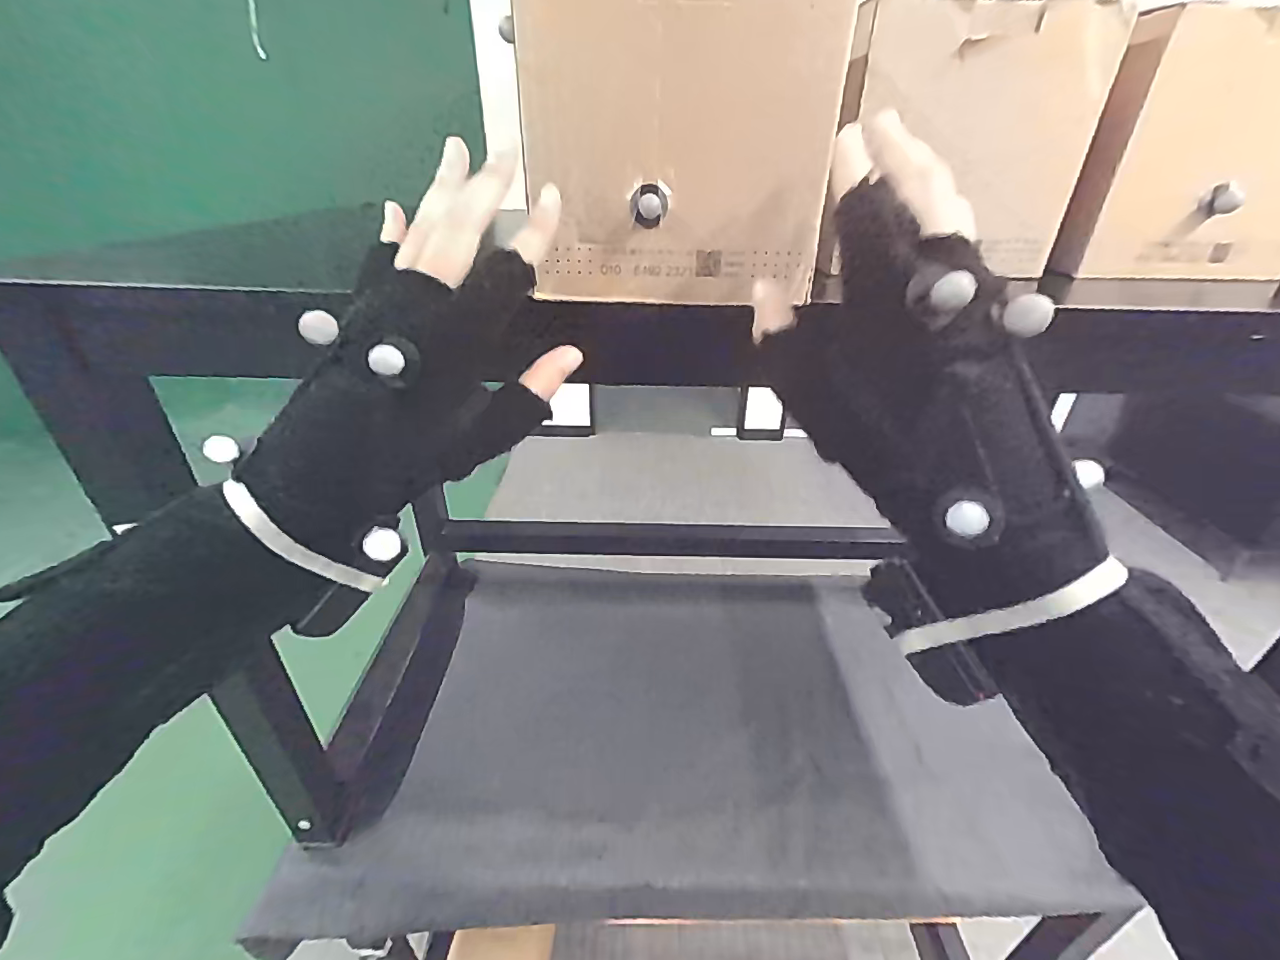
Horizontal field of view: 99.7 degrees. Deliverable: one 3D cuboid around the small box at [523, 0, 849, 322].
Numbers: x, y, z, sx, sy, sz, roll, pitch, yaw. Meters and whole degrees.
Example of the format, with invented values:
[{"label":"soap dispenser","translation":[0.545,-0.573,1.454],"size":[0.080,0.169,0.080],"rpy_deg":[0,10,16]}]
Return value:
[{"label":"small box","translation":[0.021,-0.216,0.371],"size":[0.168,0.176,0.179],"rpy_deg":[1,31,0]}]
